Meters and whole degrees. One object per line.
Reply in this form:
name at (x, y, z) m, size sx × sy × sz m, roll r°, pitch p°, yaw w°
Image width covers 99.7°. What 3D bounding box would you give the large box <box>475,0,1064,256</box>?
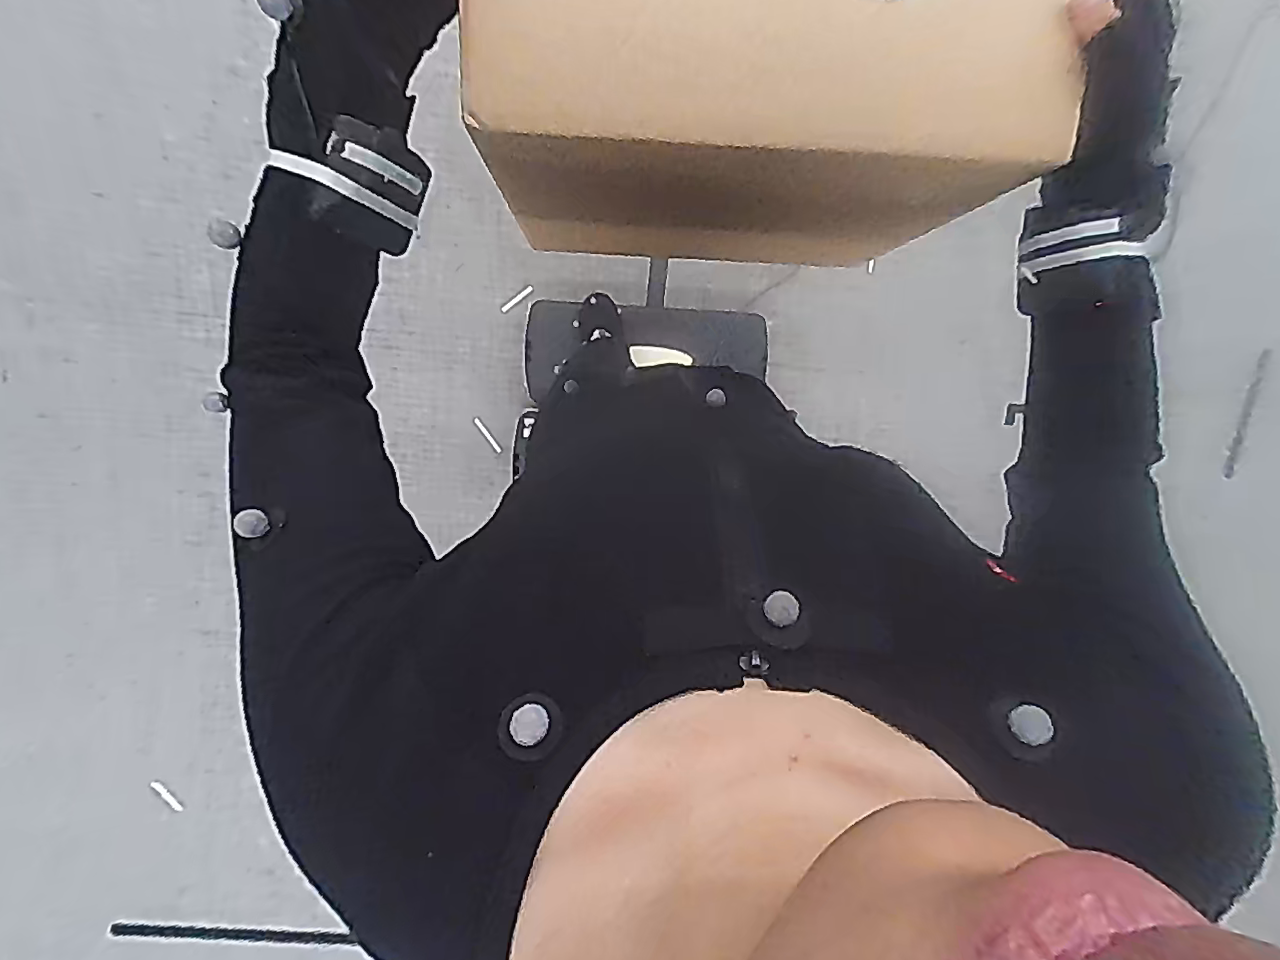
large box at (0.080, -0.406, 0.493) m, size 0.408 × 0.320 × 0.320 m, roll 1°, pitch 100°, yaw -4°
